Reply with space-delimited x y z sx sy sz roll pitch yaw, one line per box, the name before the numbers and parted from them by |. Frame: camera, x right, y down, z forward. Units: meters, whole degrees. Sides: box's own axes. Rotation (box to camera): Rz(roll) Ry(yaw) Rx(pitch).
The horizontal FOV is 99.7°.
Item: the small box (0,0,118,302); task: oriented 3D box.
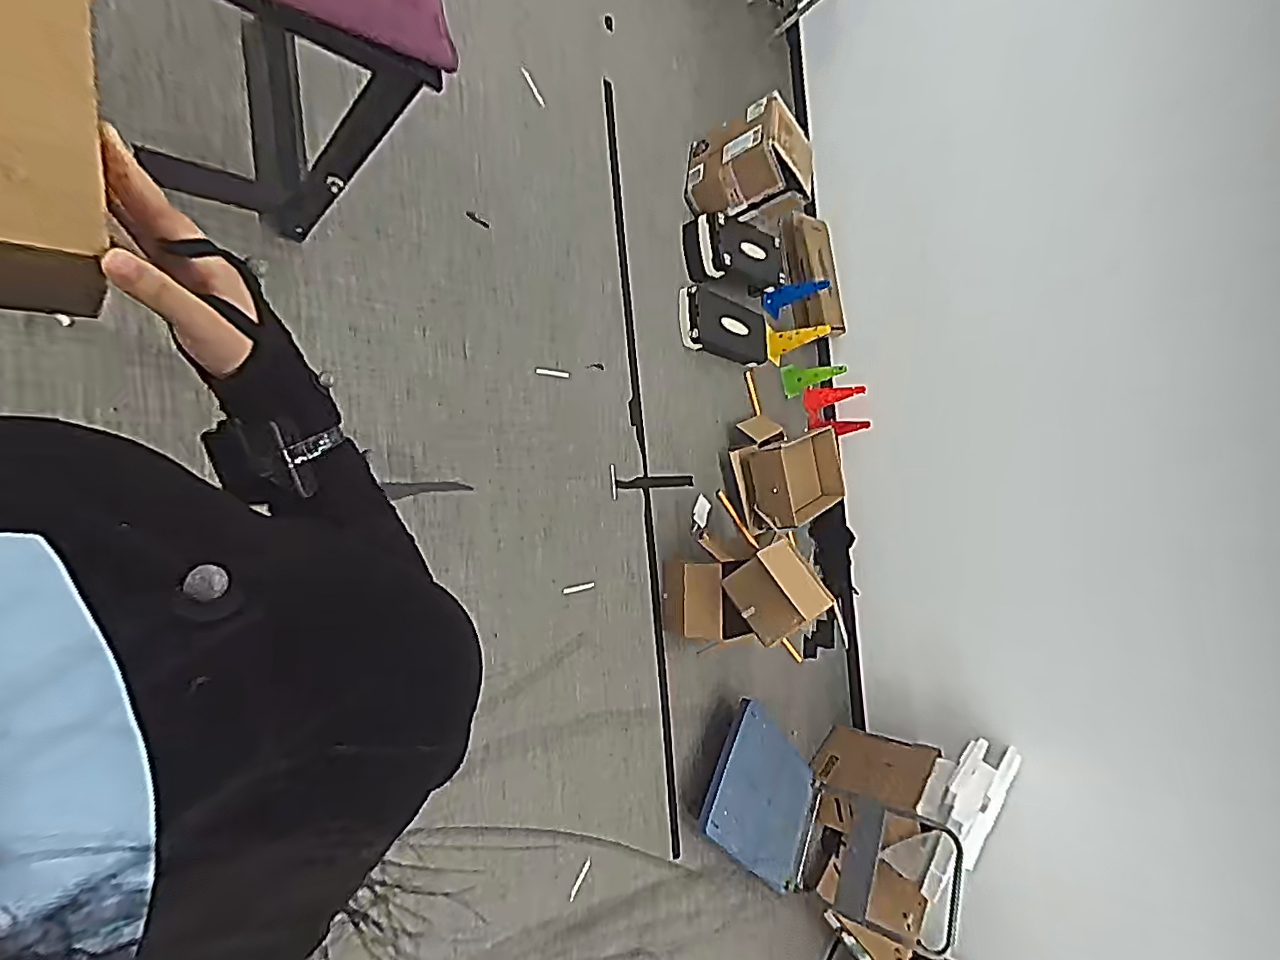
small box | -0.387 -0.203 0.275 0.168 0.176 0.179 -5 94 -47
